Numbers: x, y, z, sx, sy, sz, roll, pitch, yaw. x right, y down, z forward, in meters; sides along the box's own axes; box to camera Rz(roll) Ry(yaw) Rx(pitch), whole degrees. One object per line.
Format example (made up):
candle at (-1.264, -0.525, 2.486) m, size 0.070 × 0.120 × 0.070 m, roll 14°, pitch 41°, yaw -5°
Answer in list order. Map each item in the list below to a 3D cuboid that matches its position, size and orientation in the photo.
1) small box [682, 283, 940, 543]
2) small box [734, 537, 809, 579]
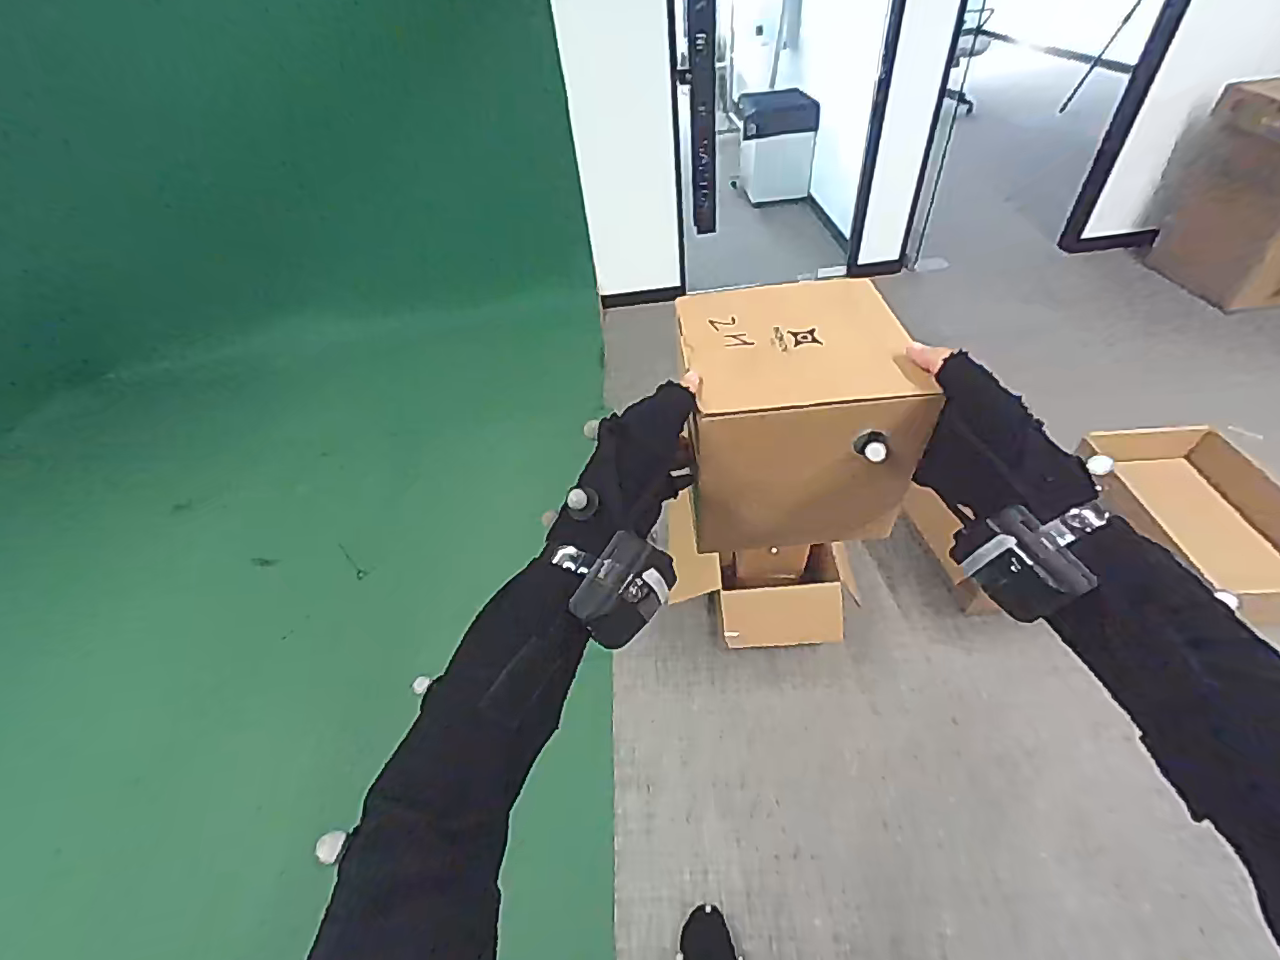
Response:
small box at (0.132, -0.058, 0.499) m, size 0.179 × 0.176 × 0.168 m, roll -5°, pitch 46°, yaw 2°
small box at (0.360, 0.166, 1.518) m, size 0.179 × 0.176 × 0.168 m, roll -2°, pitch 44°, yaw 4°
